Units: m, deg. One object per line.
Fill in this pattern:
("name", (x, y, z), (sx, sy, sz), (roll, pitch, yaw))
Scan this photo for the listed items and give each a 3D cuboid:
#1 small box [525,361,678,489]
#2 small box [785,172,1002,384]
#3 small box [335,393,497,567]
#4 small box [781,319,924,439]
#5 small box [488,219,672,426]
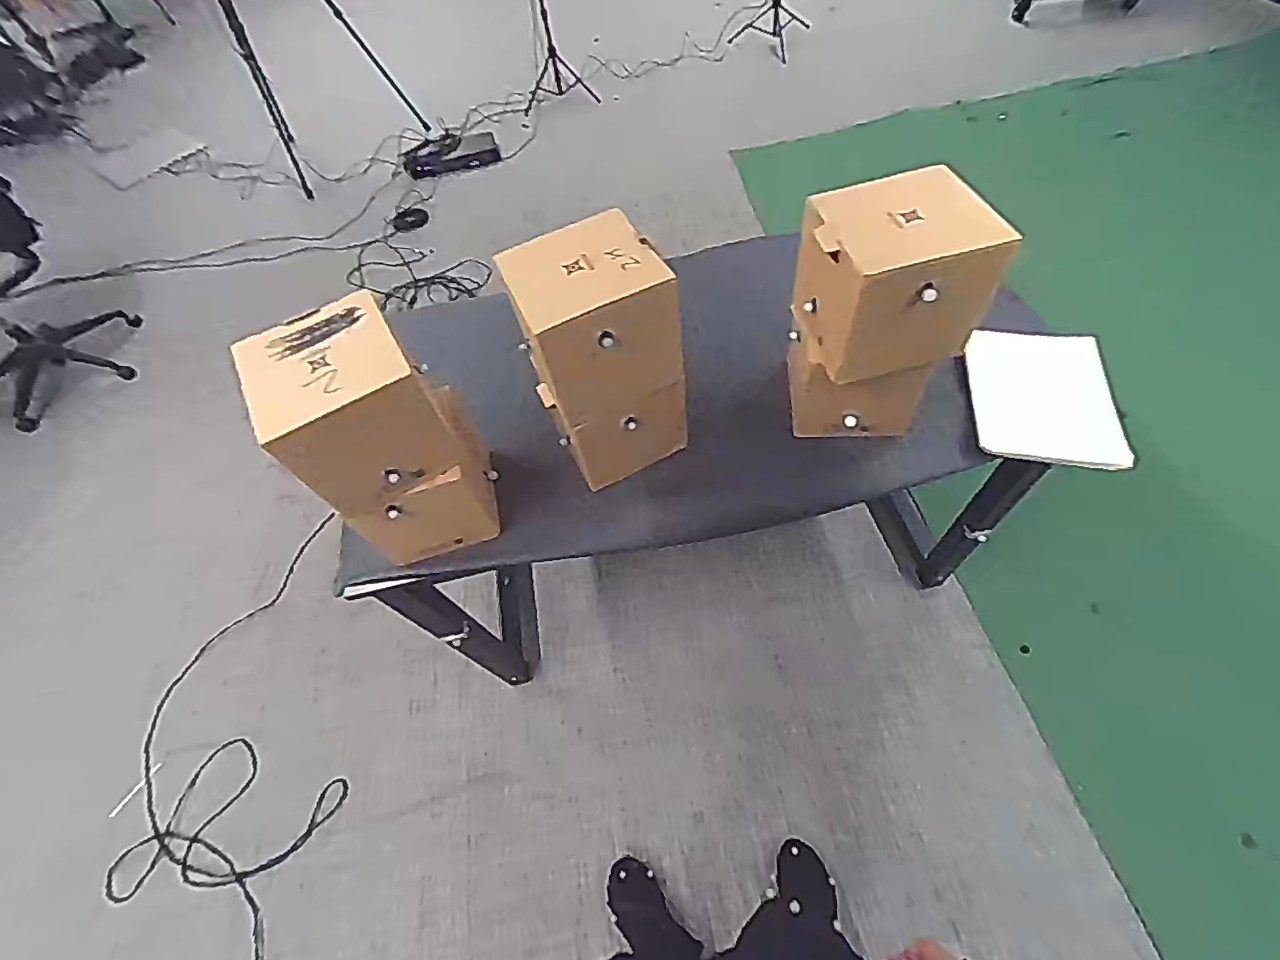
("small box", (-0.053, -0.115, 0.852), (0.179, 0.176, 0.168), (-27, 59, -10))
("small box", (0.301, -0.251, 0.690), (0.179, 0.176, 0.168), (-14, 56, 0))
("small box", (-0.329, 0.004, 0.813), (0.168, 0.176, 0.179), (-17, 57, -3))
("small box", (0.313, -0.183, 0.839), (0.168, 0.176, 0.179), (0, 58, 9))
("small box", (-0.071, -0.201, 0.712), (0.179, 0.176, 0.168), (-25, 58, -8))
